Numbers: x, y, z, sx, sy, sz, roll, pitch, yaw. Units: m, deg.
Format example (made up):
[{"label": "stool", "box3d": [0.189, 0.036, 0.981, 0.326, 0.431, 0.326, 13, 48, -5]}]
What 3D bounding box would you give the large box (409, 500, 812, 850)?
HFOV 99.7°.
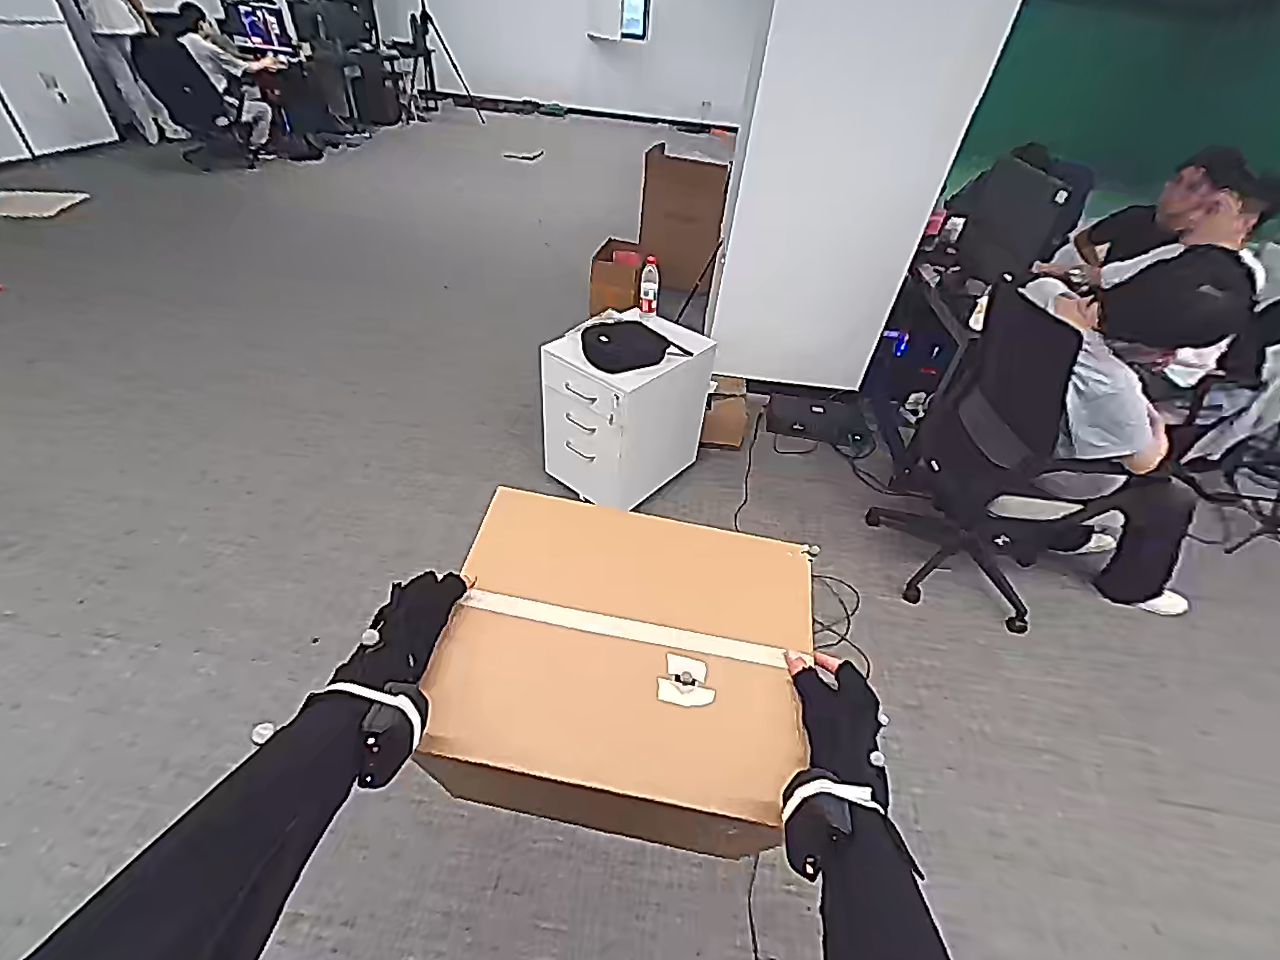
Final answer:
[{"label": "large box", "box3d": [-0.025, 0.267, 0.726, 0.408, 0.320, 0.320, 11, 52, 1]}]
